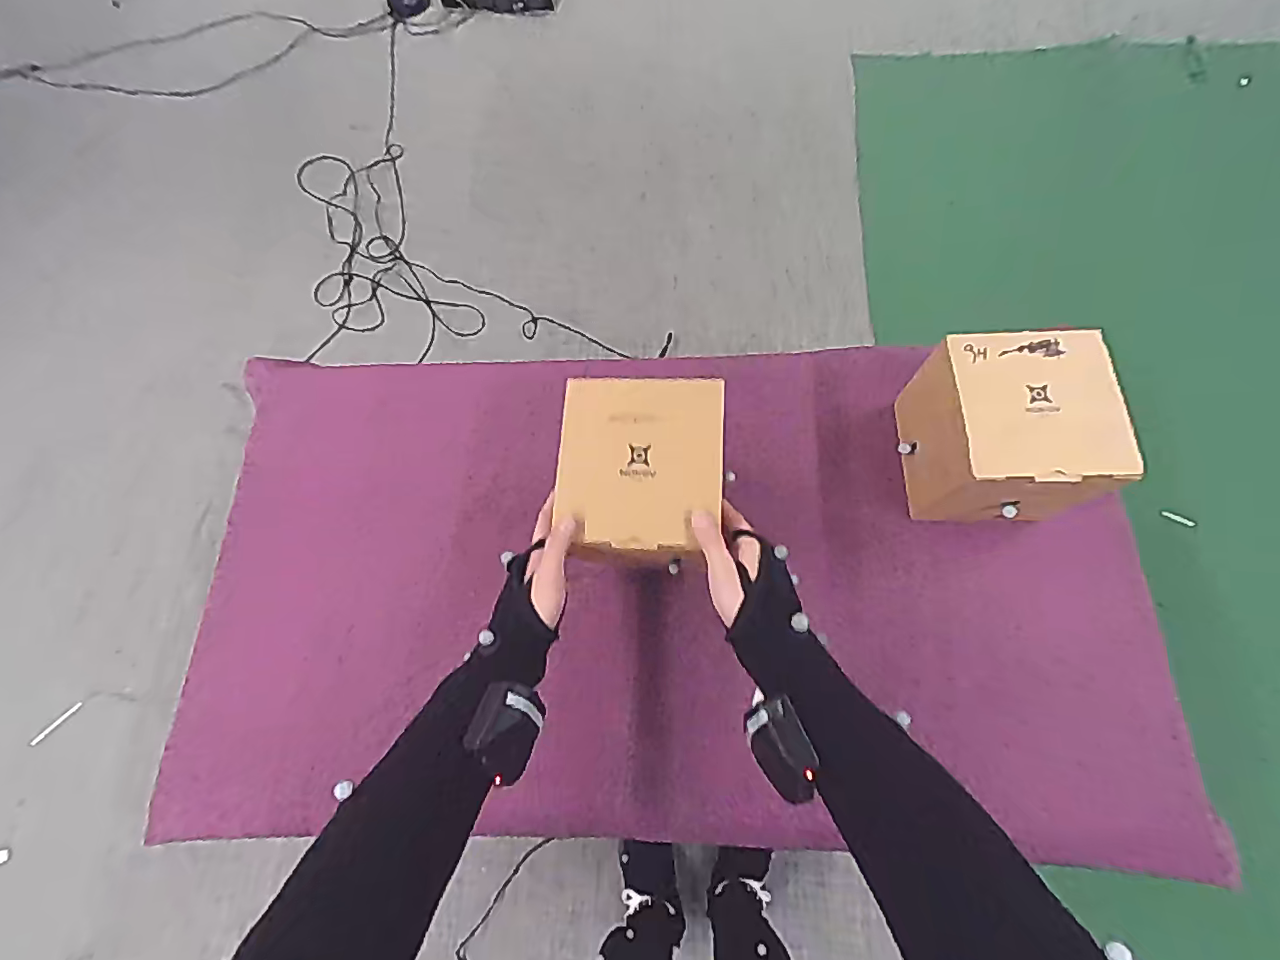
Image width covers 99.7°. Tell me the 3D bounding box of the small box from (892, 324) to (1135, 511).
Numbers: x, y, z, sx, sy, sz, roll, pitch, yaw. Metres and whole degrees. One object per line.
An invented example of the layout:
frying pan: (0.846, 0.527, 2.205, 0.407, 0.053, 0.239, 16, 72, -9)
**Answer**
small box: (0.422, -0.063, 0.648, 0.168, 0.176, 0.179, -1, 72, 5)

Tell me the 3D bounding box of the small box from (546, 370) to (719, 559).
small box: (0.004, -0.008, 0.613, 0.168, 0.176, 0.179, 2, 74, 7)
